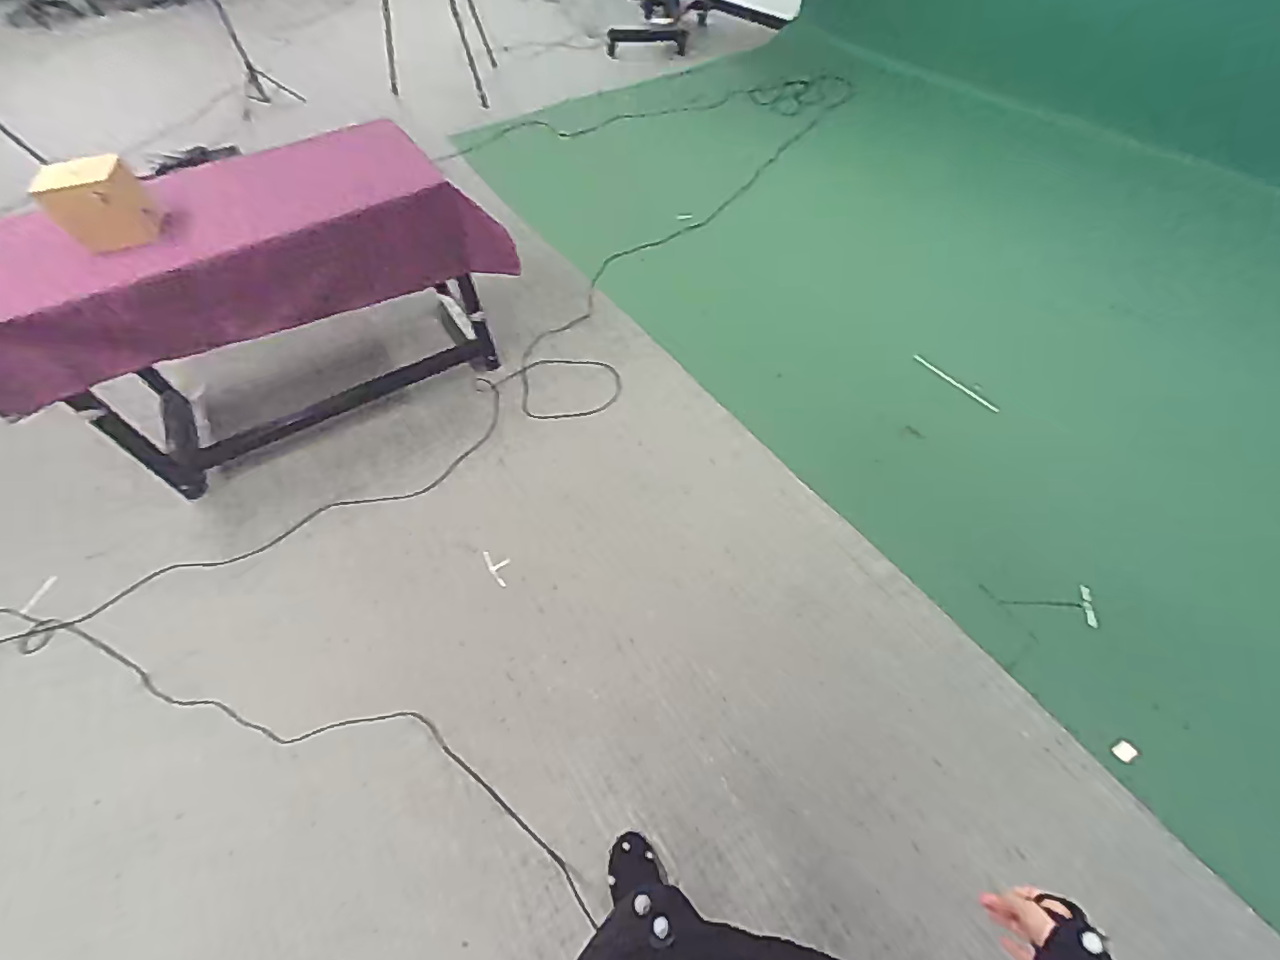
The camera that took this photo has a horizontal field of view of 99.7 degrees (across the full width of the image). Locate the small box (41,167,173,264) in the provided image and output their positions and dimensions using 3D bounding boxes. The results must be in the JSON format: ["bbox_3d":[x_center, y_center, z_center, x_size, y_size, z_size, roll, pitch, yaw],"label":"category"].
[{"bbox_3d":[-1.432,-0.713,1.466,0.179,0.176,0.168,-19,54,-11],"label":"small box"}]
